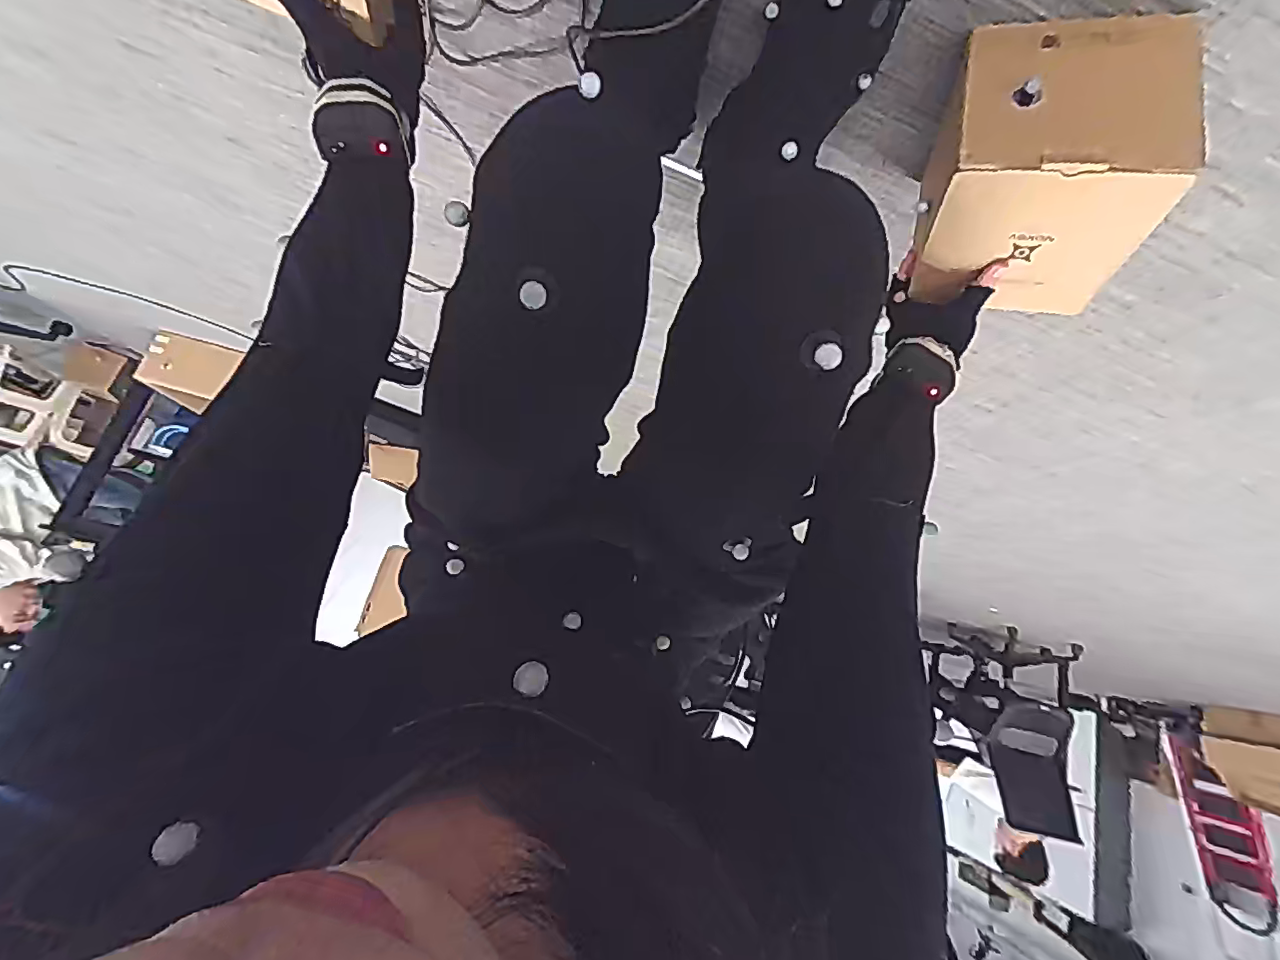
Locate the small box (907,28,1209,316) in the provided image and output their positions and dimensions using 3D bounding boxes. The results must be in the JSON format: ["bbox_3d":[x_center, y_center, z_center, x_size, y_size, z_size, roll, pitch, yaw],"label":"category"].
[{"bbox_3d":[0.369,-0.283,0.509,0.168,0.176,0.179,12,164,16],"label":"small box"}]

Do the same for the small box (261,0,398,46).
[{"bbox_3d":[-0.262,-0.487,0.389,0.168,0.176,0.179,18,162,-11],"label":"small box"}]
